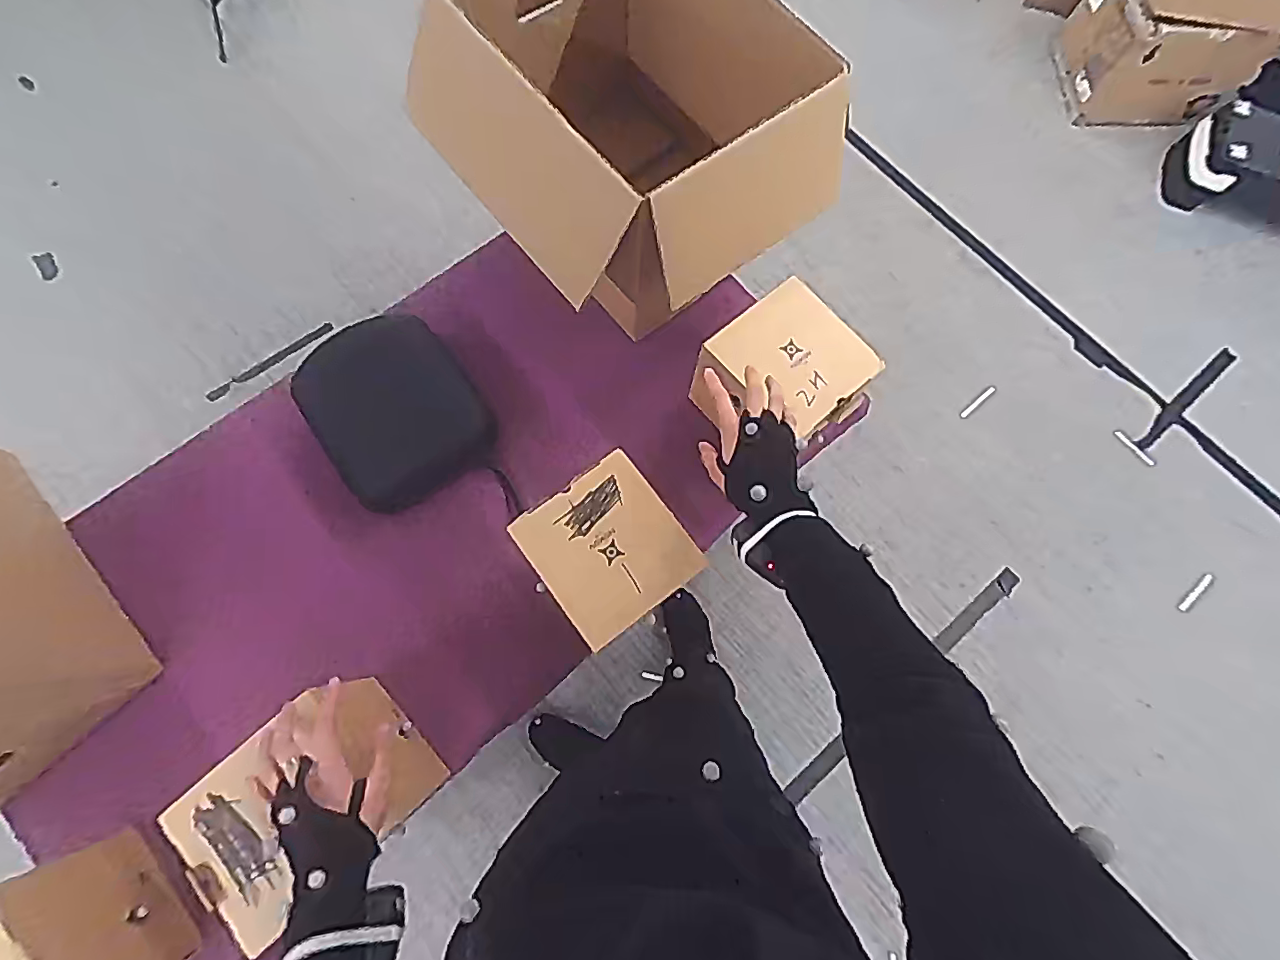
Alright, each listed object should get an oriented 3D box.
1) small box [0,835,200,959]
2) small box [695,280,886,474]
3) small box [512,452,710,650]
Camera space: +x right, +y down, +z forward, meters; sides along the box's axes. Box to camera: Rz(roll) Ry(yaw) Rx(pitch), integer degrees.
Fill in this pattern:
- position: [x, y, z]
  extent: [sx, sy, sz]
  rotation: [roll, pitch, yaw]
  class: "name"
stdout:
- position: [-0.625, 0.521, 0.558]
  extent: [0.179, 0.176, 0.168]
  rotation: [-40, 80, -13]
  class: "small box"
- position: [0.196, -0.135, 0.766]
  extent: [0.168, 0.176, 0.179]
  rotation: [-39, 79, -10]
  class: "small box"
- position: [-0.037, 0.098, 0.695]
  extent: [0.168, 0.176, 0.179]
  rotation: [-36, 79, -10]
  class: "small box"
